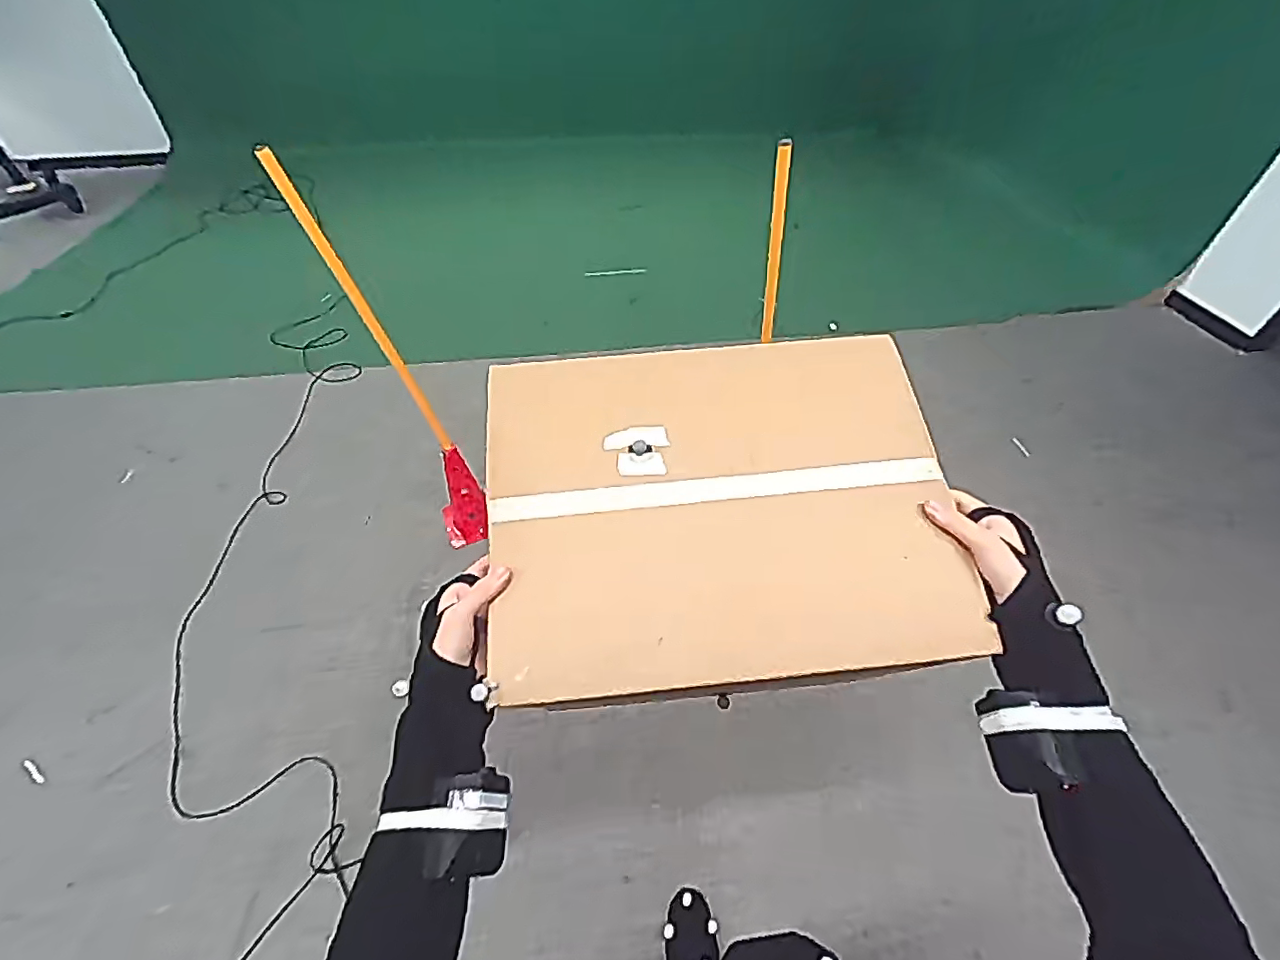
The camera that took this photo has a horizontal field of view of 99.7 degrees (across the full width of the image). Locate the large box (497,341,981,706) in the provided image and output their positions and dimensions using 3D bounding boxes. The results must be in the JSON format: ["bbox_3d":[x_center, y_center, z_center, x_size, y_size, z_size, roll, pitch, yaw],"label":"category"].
[{"bbox_3d":[0.074,0.076,0.633,0.408,0.320,0.320,-6,66,-1],"label":"large box"}]
